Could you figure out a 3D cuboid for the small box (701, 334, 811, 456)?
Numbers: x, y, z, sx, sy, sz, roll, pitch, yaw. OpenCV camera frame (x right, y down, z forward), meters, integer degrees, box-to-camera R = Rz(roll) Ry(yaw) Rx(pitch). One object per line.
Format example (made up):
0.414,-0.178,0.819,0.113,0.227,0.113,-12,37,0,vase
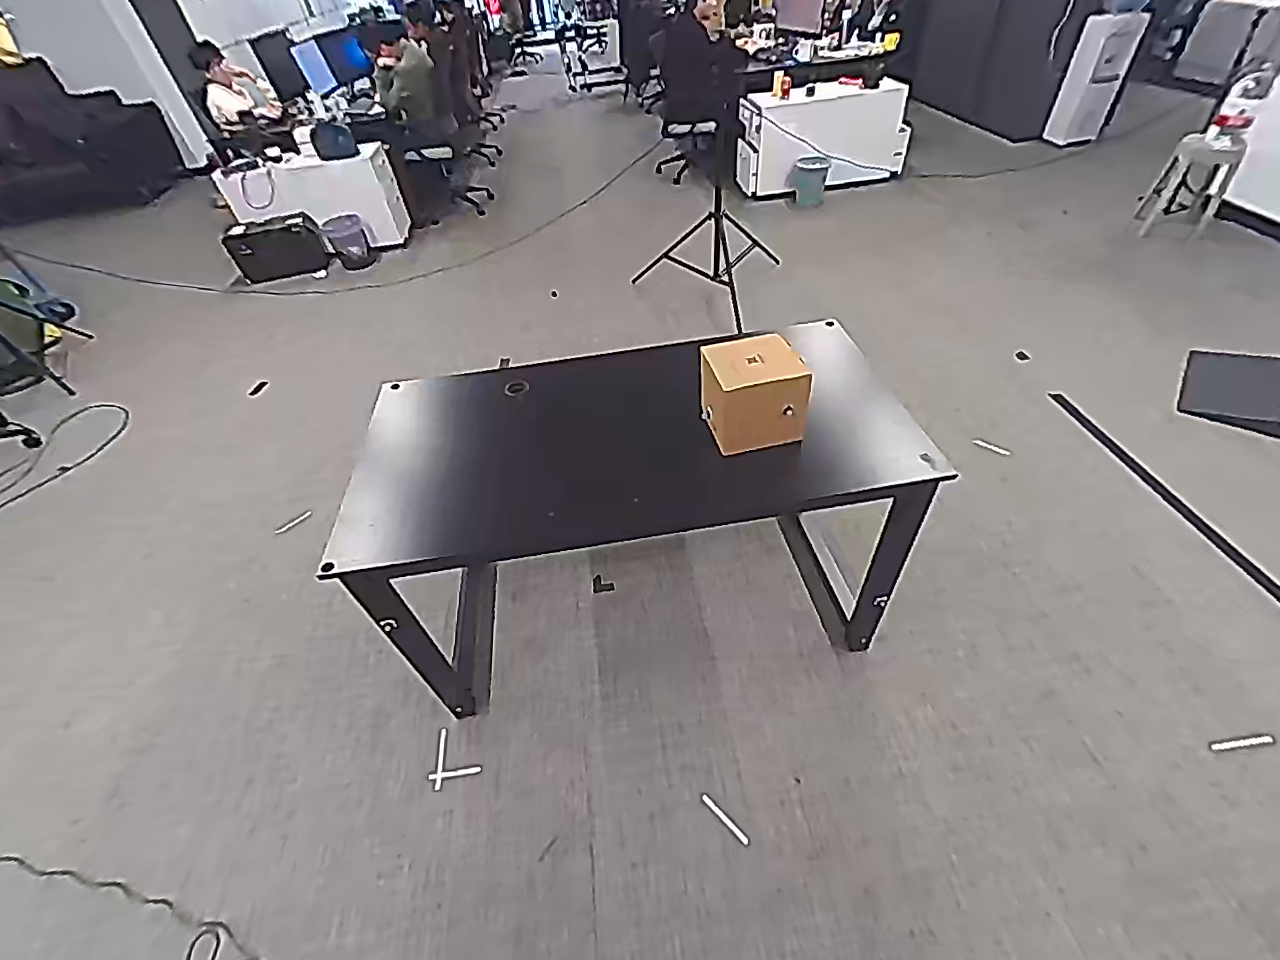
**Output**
0.232,-0.175,1.123,0.179,0.176,0.168,-13,44,-4,small box
